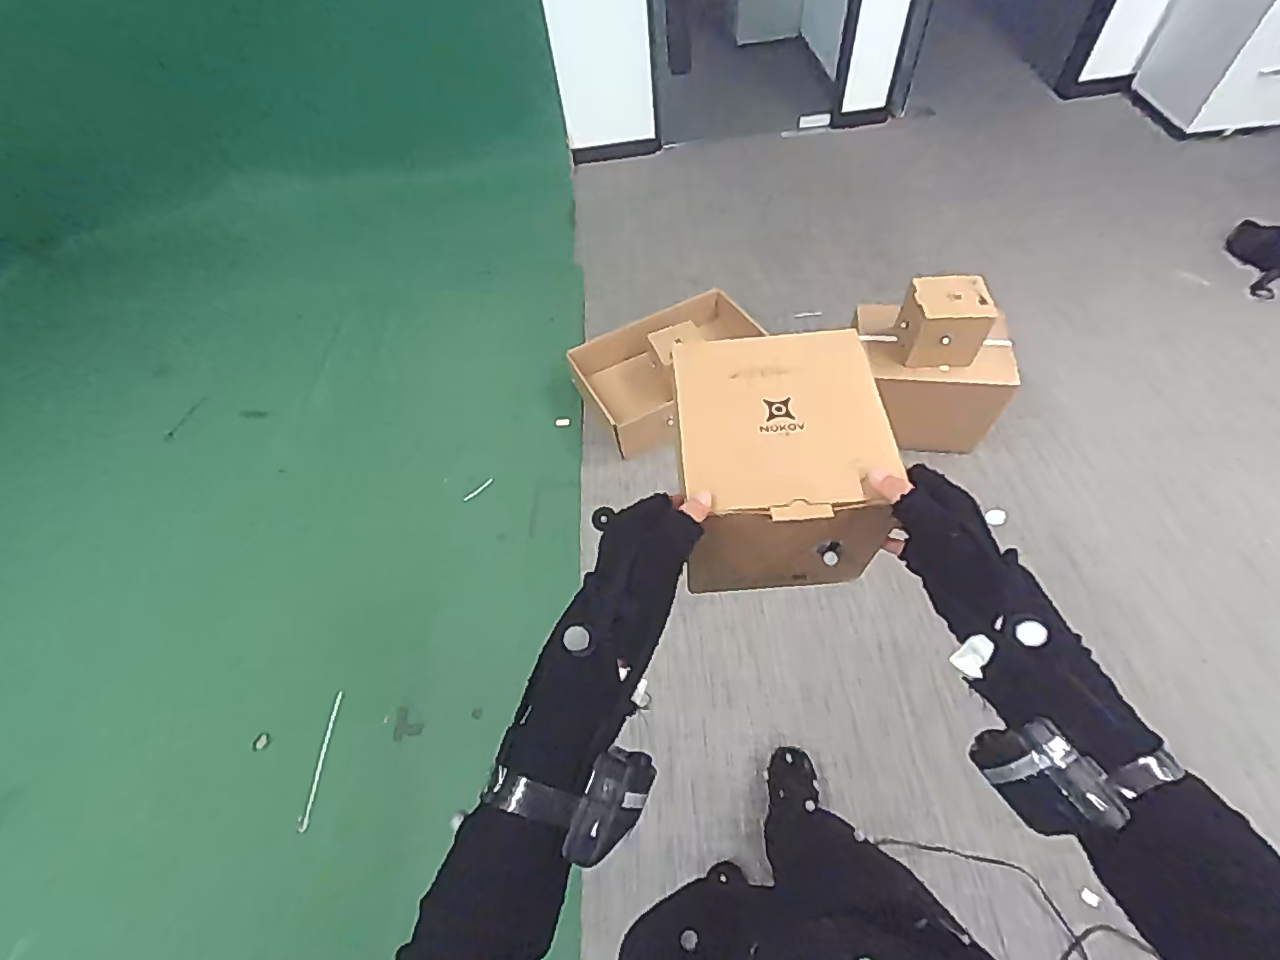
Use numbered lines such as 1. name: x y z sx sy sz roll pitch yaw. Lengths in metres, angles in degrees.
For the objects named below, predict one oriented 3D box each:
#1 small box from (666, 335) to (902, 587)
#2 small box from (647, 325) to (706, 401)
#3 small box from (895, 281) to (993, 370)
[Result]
1. small box: 0.115 -0.007 0.509 0.168 0.176 0.179 -5 57 2
2. small box: 0.134 -0.388 1.840 0.168 0.176 0.179 -19 54 -6
3. small box: 0.806 -0.412 1.459 0.179 0.176 0.168 0 56 7
